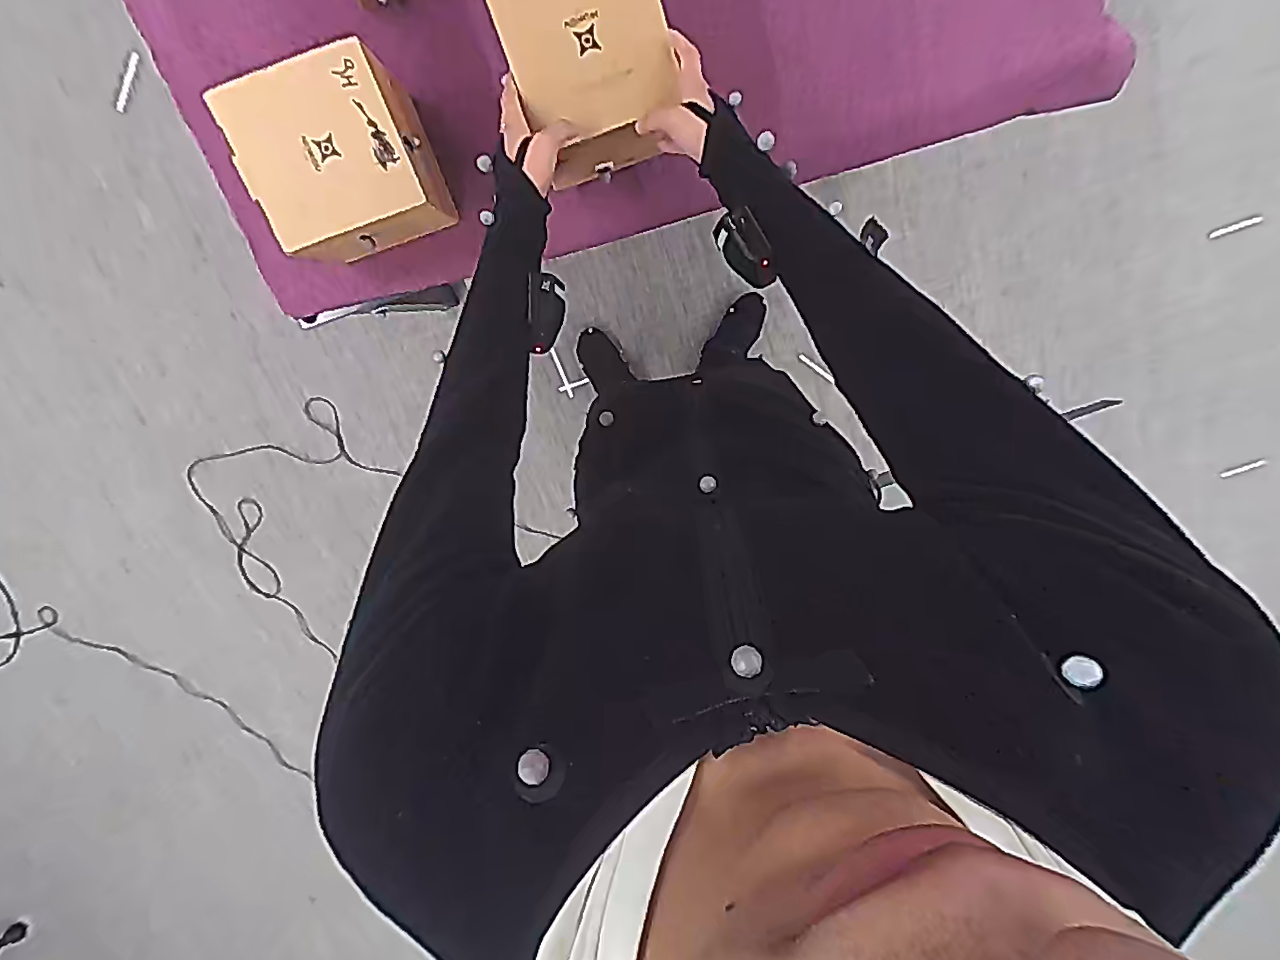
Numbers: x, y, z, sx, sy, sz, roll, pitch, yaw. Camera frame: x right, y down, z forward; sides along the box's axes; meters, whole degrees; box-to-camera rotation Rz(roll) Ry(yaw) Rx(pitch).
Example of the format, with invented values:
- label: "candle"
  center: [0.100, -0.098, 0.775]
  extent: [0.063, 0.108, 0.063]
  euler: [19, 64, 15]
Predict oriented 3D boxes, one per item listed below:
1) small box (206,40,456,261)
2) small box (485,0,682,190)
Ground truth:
- label: "small box"
  center: [-0.355, -0.380, 0.662]
  extent: [0.179, 0.176, 0.168]
  euler: [-19, 109, 2]
- label: "small box"
  center: [-0.064, -0.467, 0.622]
  extent: [0.168, 0.176, 0.179]
  euler: [-19, 107, 3]
